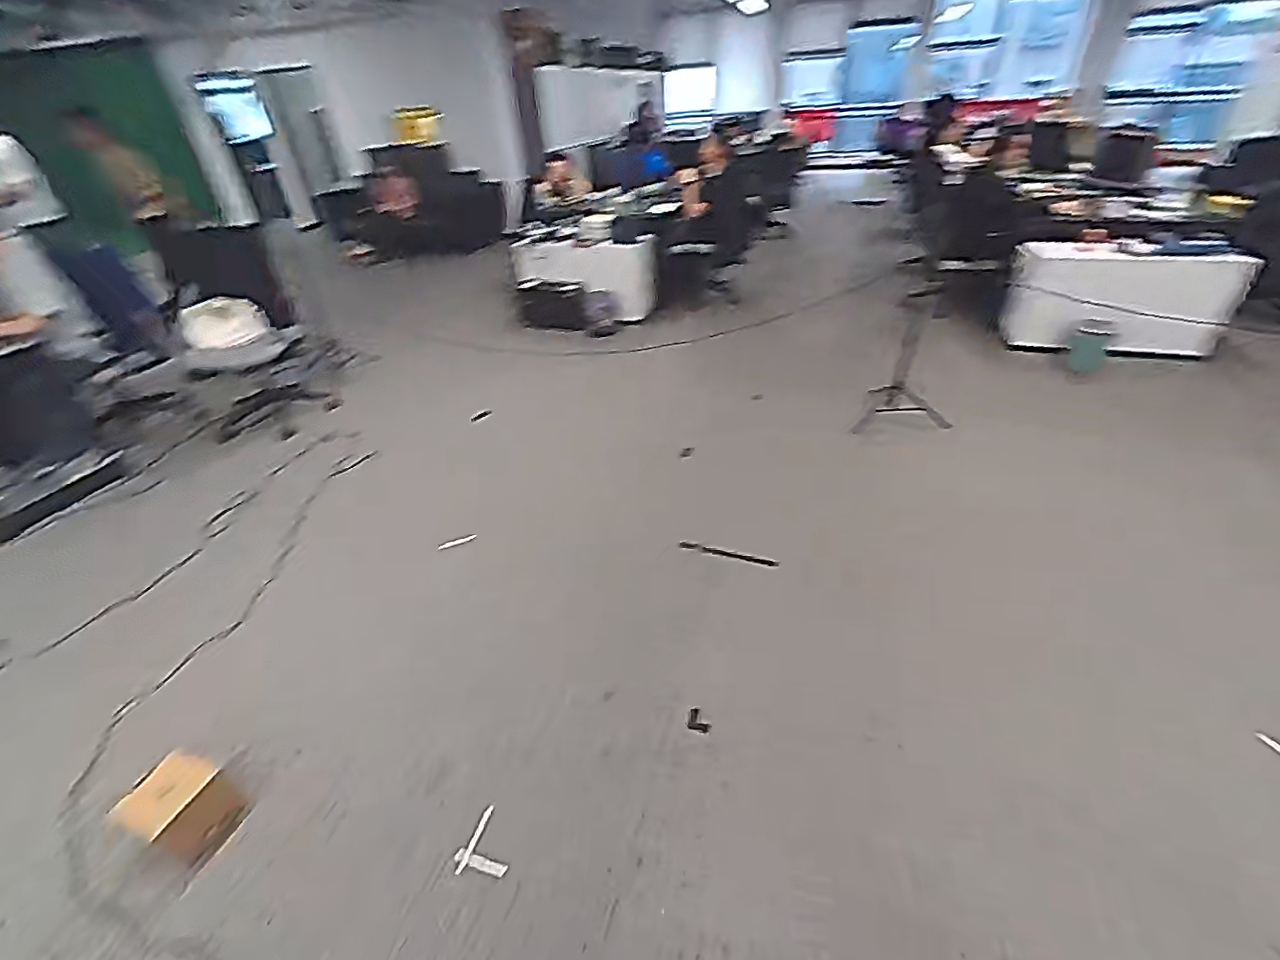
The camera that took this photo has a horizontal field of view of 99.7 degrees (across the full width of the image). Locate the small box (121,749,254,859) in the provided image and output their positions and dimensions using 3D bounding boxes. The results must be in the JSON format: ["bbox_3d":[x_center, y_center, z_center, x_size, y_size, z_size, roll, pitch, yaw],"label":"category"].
[{"bbox_3d":[-1.166,0.843,1.406,0.179,0.176,0.168,11,39,18],"label":"small box"}]
